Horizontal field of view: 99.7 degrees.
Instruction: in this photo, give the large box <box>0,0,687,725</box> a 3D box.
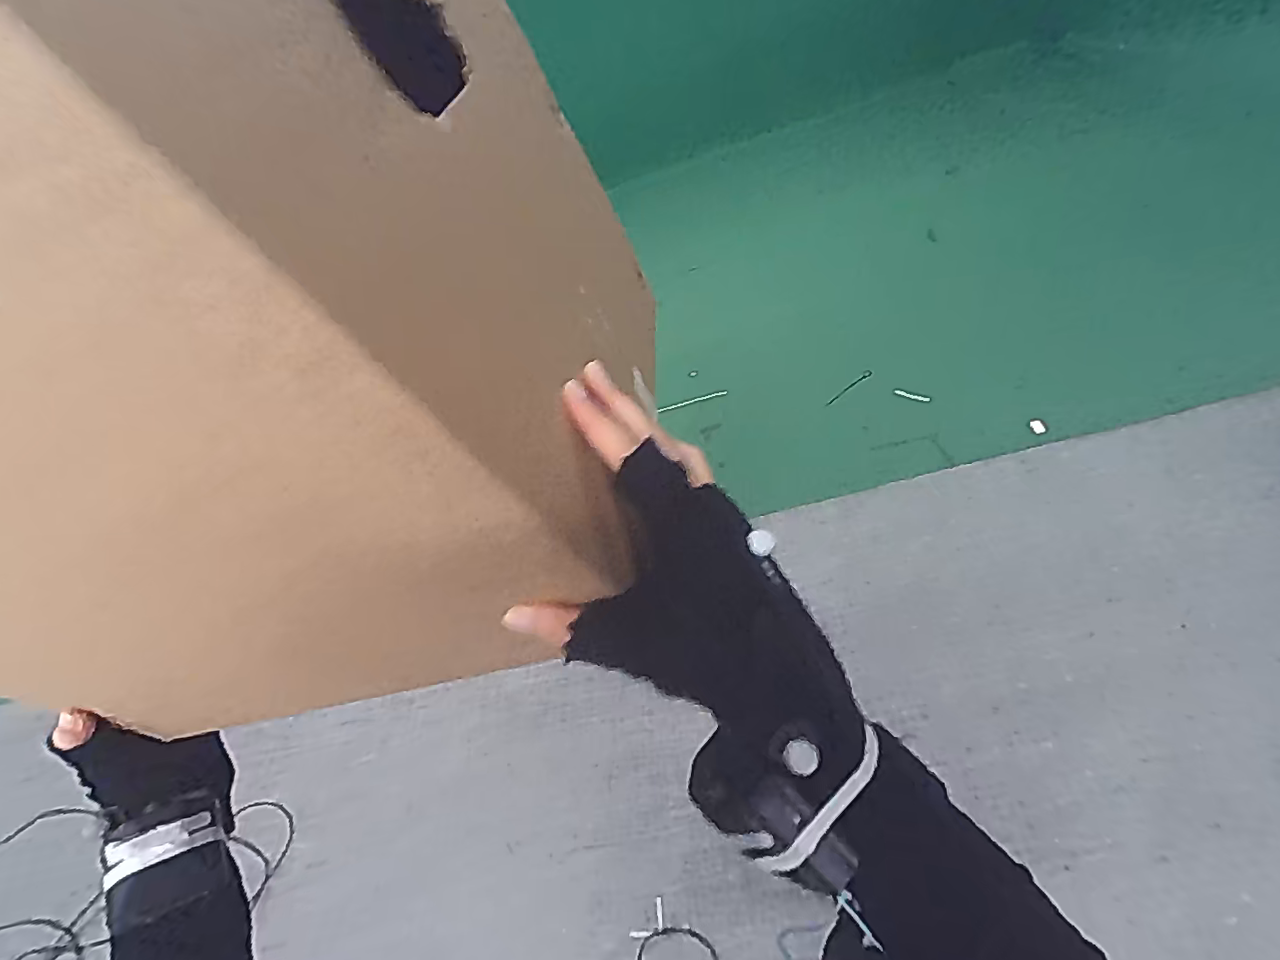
[{"bbox_3d":[-0.216,-0.079,0.335,0.408,0.320,0.320,-17,46,18],"label":"large box"}]
